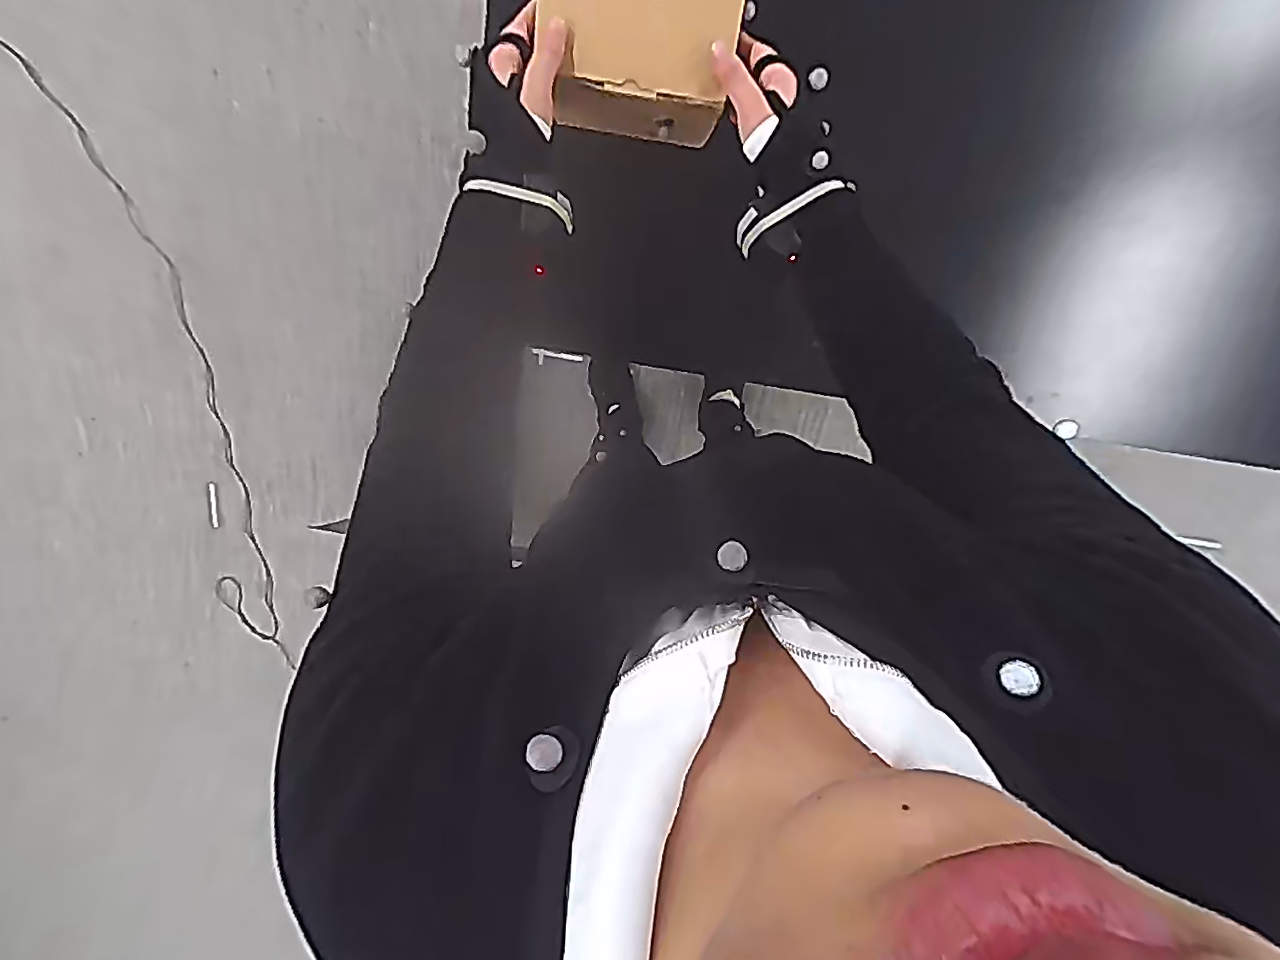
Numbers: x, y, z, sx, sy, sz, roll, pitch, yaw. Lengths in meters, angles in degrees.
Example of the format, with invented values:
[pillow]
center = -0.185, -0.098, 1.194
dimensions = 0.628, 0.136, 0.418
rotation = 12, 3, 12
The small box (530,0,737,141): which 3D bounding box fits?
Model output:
[small box]
center = -0.001, -0.437, 0.499
dimensions = 0.168, 0.176, 0.179
rotation = 7, 110, -5
